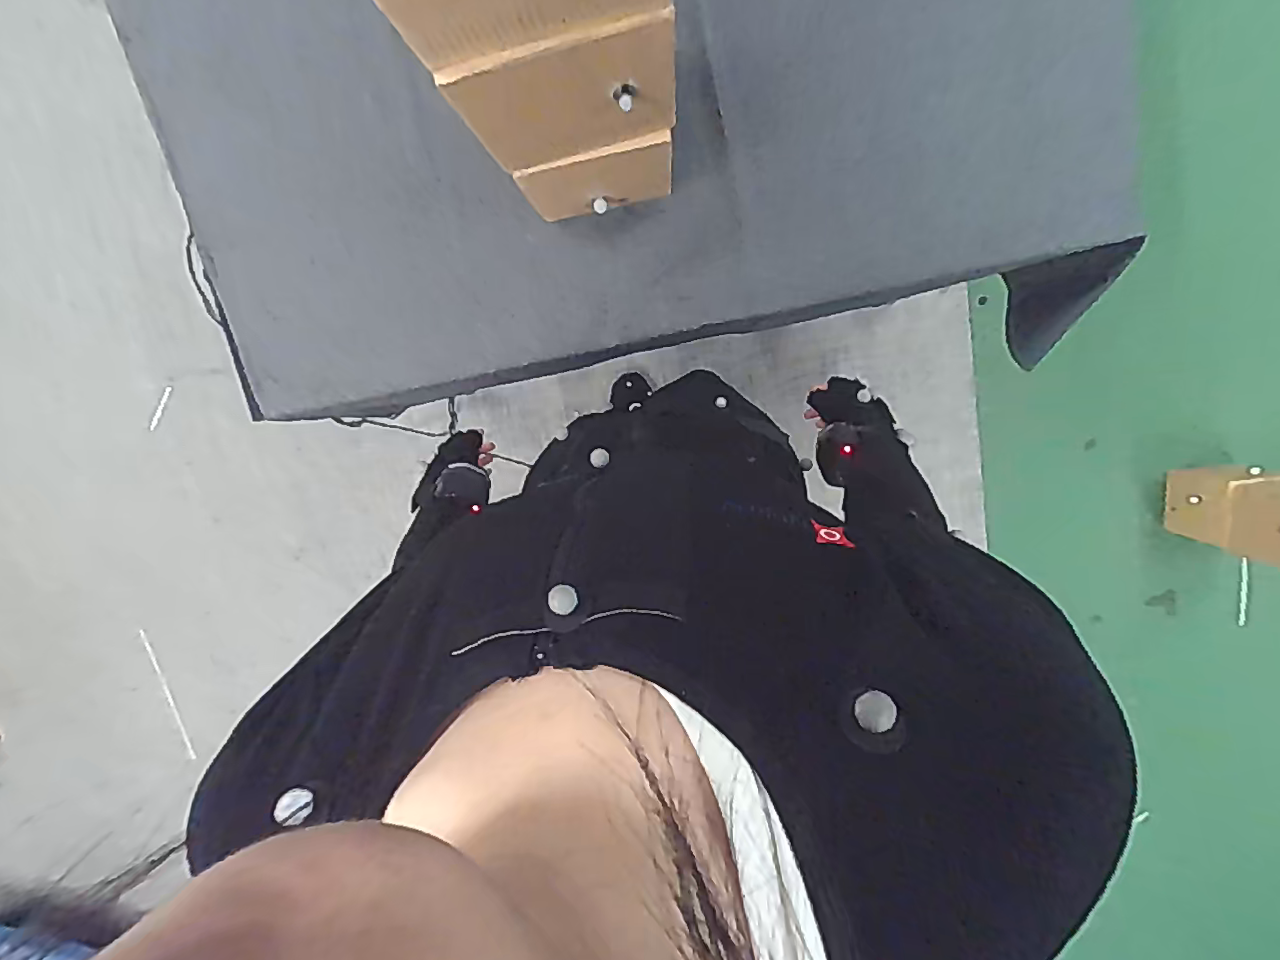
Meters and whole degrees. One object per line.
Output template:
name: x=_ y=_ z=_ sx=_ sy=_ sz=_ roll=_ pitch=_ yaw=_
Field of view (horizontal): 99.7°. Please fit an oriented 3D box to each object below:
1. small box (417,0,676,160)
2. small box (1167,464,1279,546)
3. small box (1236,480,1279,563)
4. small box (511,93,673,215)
small box: x=-0.073 y=-0.394 z=0.437 sx=0.179 sy=0.176 sz=0.168 roll=-12 pitch=99 yaw=5
small box: x=1.476 y=0.058 z=1.347 sx=0.179 sy=0.176 sz=0.168 roll=-6 pitch=100 yaw=4
small box: x=1.480 y=0.094 z=1.186 sx=0.168 sy=0.176 sz=0.179 roll=-7 pitch=101 yaw=4
small box: x=-0.059 y=-0.421 z=0.597 sx=0.168 sy=0.176 sz=0.179 roll=-10 pitch=100 yaw=5
